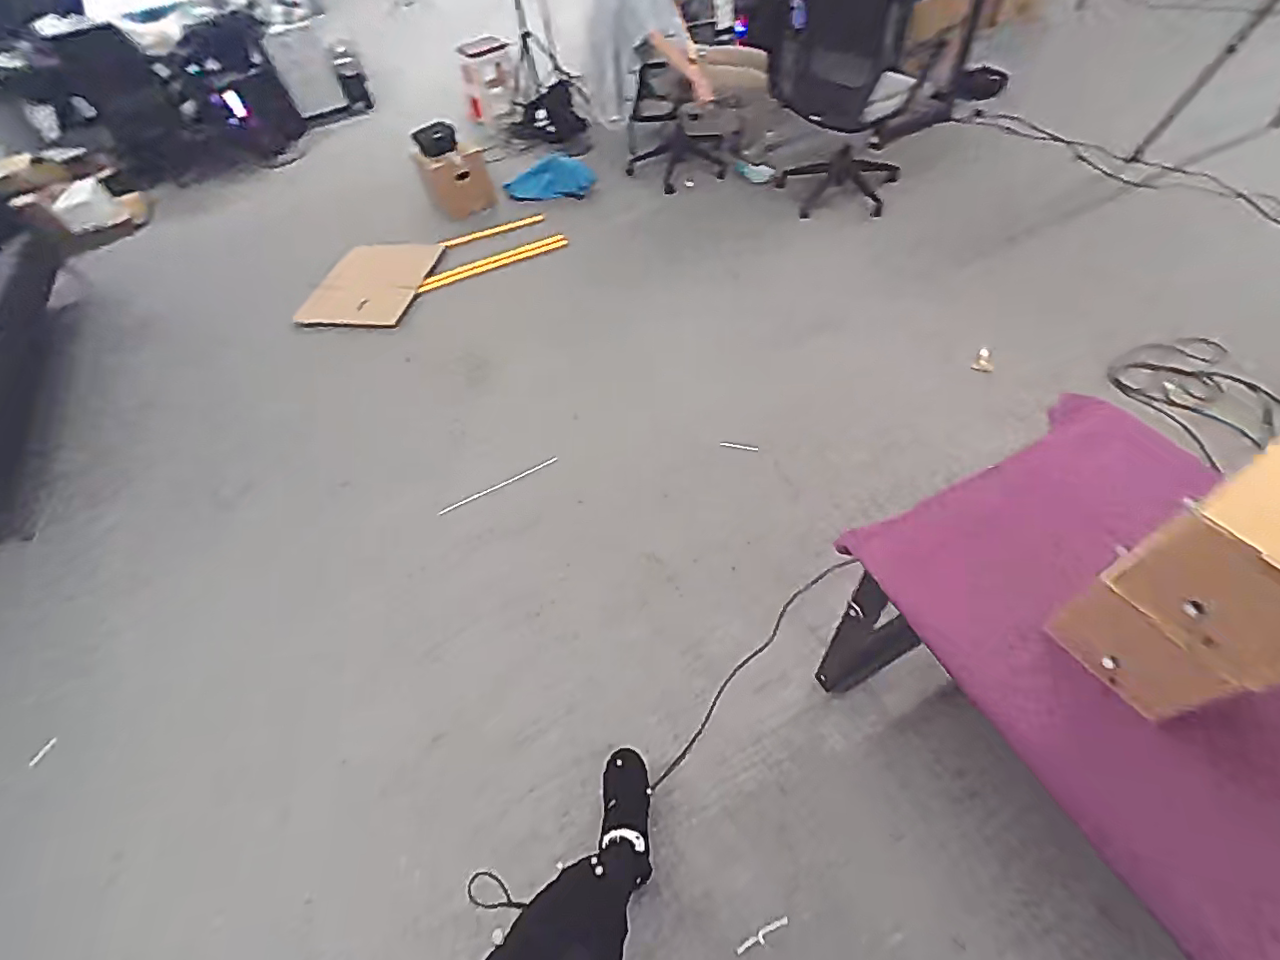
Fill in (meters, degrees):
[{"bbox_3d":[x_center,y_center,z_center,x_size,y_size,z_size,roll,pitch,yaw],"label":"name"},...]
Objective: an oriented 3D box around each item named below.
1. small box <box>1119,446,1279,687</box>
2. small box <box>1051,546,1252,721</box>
[{"bbox_3d":[0.694,0.093,0.594,0.179,0.176,0.168,-32,56,-14],"label":"small box"},{"bbox_3d":[0.710,0.190,0.724,0.179,0.176,0.168,-29,54,-13],"label":"small box"}]
